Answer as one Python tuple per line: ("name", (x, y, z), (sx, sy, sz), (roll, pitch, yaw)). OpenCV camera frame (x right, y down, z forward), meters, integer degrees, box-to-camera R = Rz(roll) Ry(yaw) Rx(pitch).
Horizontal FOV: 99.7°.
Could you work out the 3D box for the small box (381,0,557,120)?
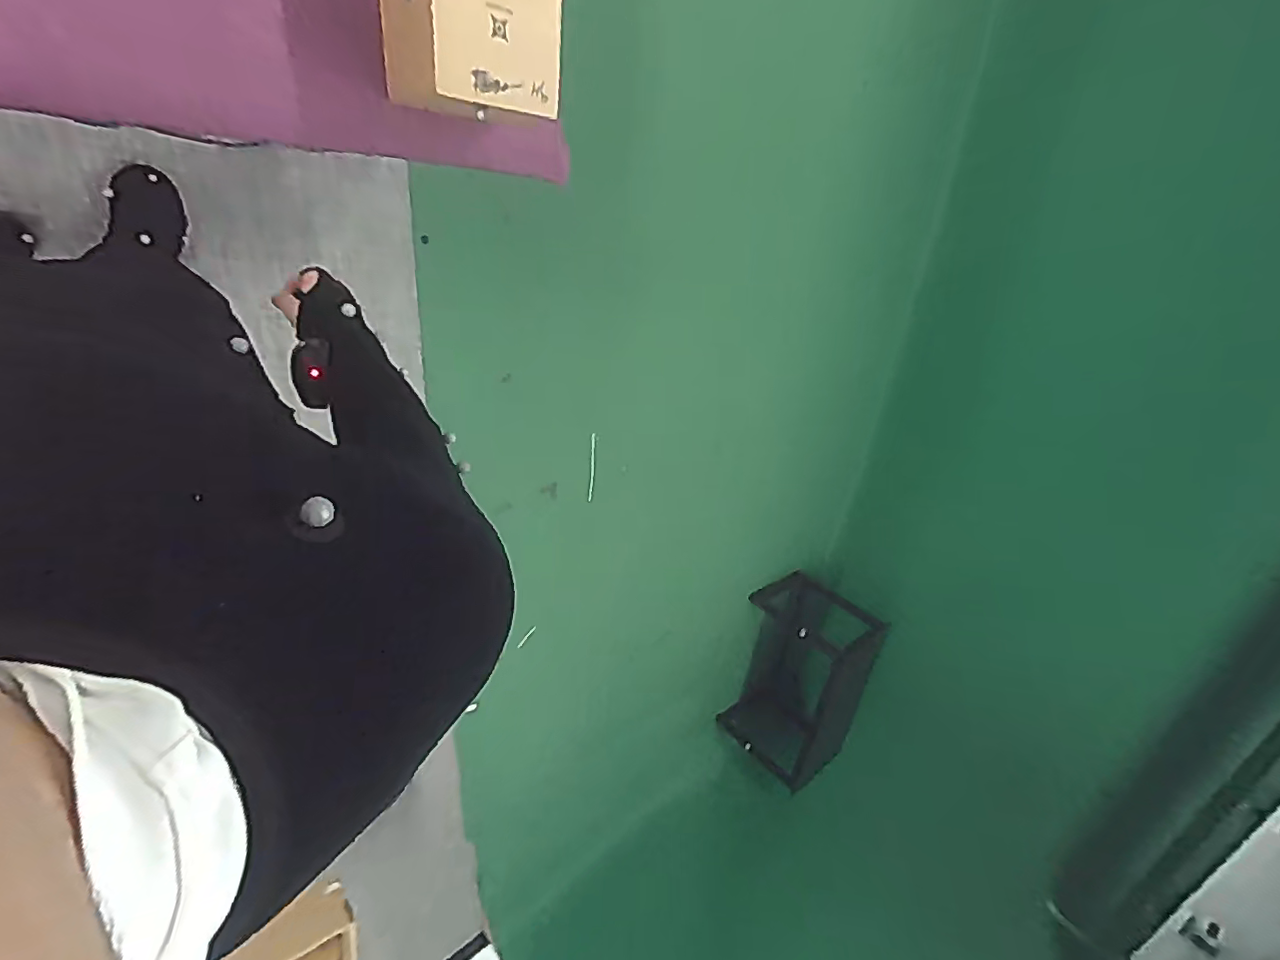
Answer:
("small box", (-0.219, -0.573, 0.680), (0.168, 0.176, 0.179), (-14, 124, -36))
